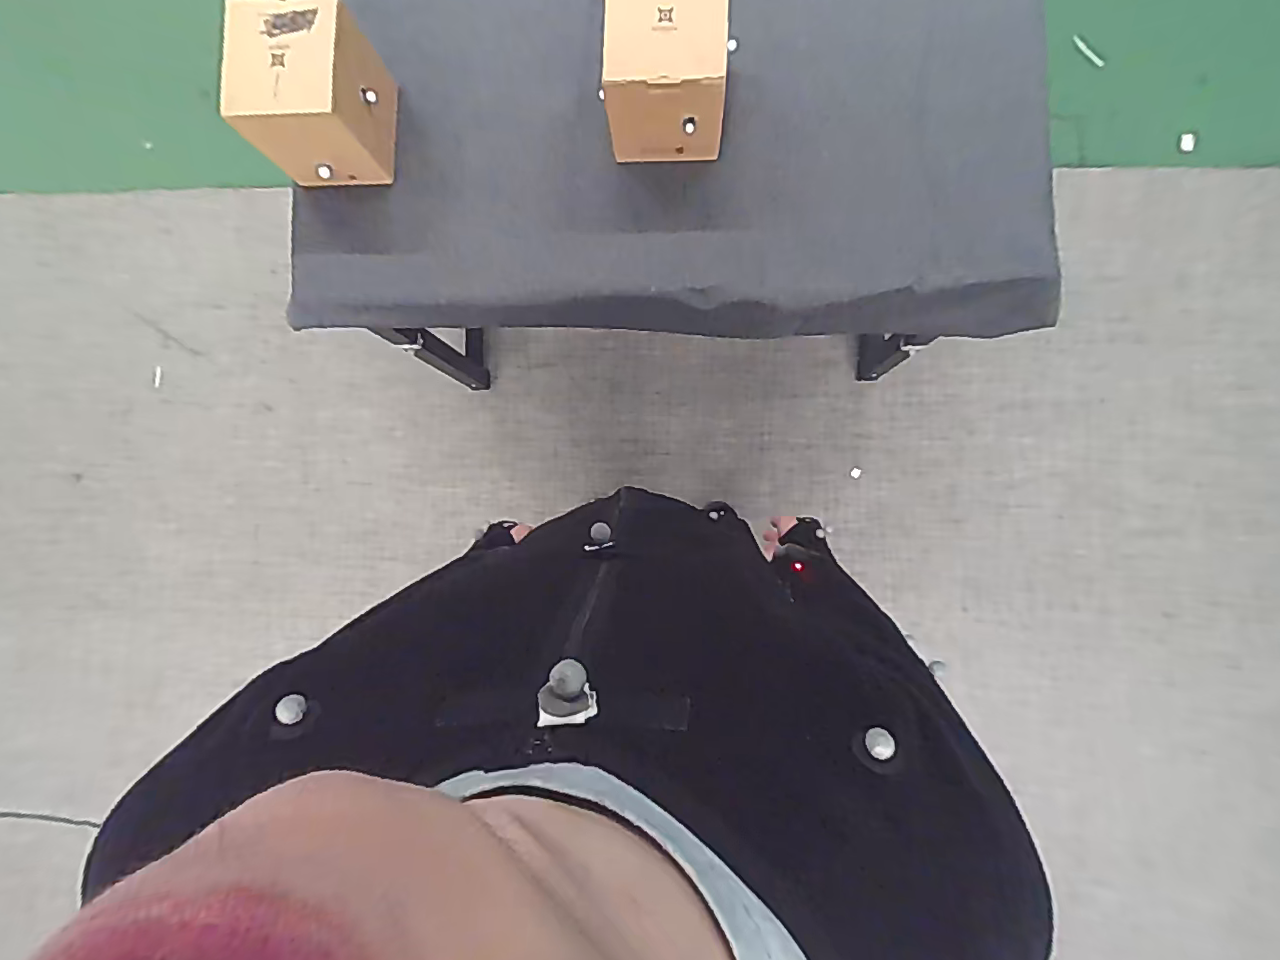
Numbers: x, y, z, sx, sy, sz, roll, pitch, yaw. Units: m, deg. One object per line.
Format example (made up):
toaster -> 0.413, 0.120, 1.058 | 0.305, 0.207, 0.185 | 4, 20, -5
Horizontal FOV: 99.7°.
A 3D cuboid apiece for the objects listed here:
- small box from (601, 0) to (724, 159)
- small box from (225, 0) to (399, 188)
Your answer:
small box -> 0.036, -0.607, 0.803 | 0.168, 0.176, 0.179 | 1, 86, 3
small box -> -0.493, -0.585, 0.836 | 0.168, 0.176, 0.179 | 0, 88, 4
